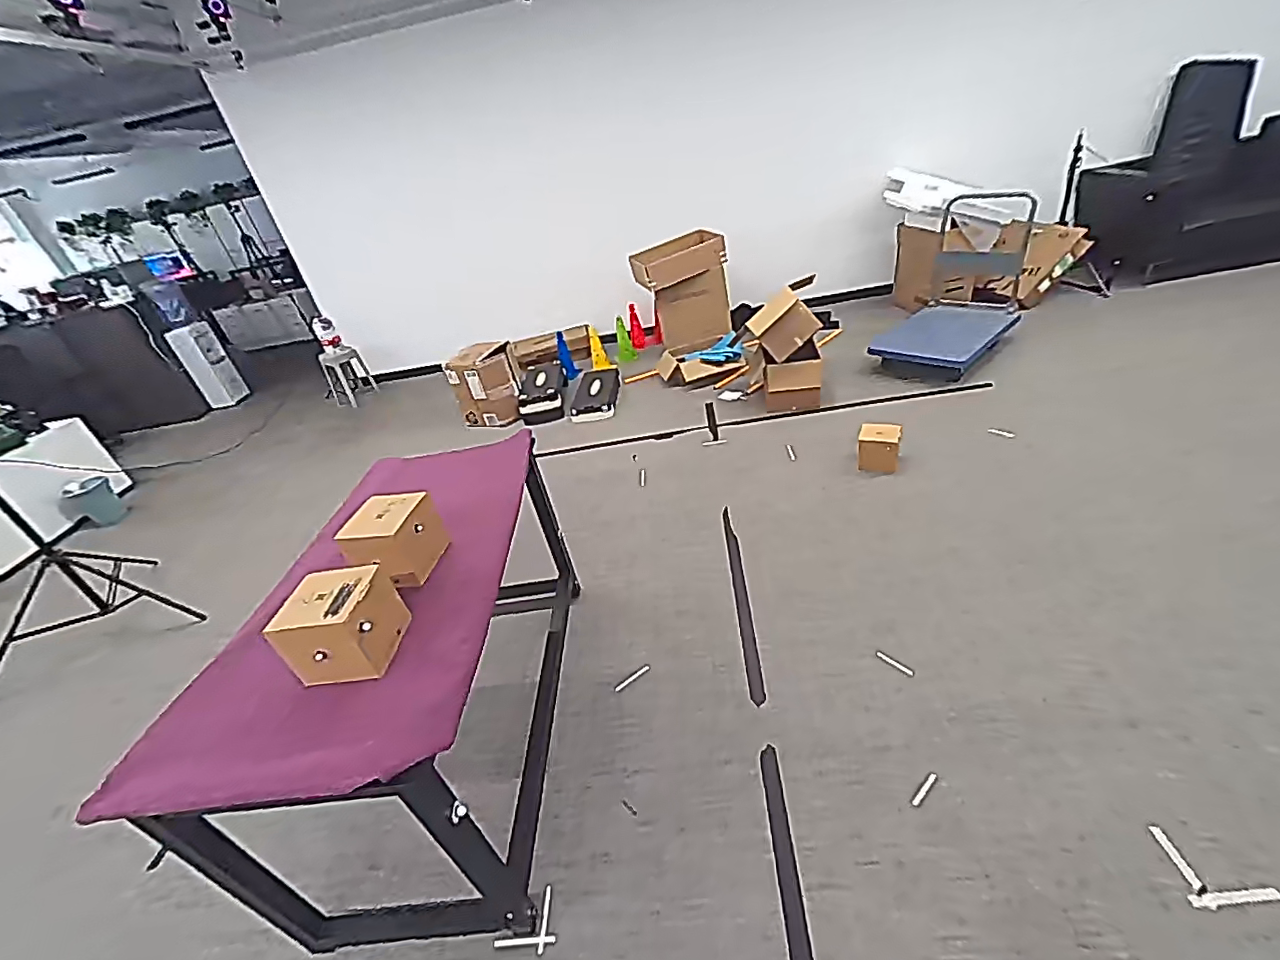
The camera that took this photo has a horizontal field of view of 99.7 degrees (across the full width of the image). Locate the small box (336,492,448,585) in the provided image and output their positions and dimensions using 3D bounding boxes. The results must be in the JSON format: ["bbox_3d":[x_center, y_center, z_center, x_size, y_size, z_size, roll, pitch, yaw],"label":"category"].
[{"bbox_3d":[-0.615,0.153,1.371,0.168,0.176,0.179,-4,33,12],"label":"small box"}]

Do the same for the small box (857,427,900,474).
[{"bbox_3d":[1.159,-0.145,2.627,0.179,0.176,0.168,7,36,27],"label":"small box"}]
